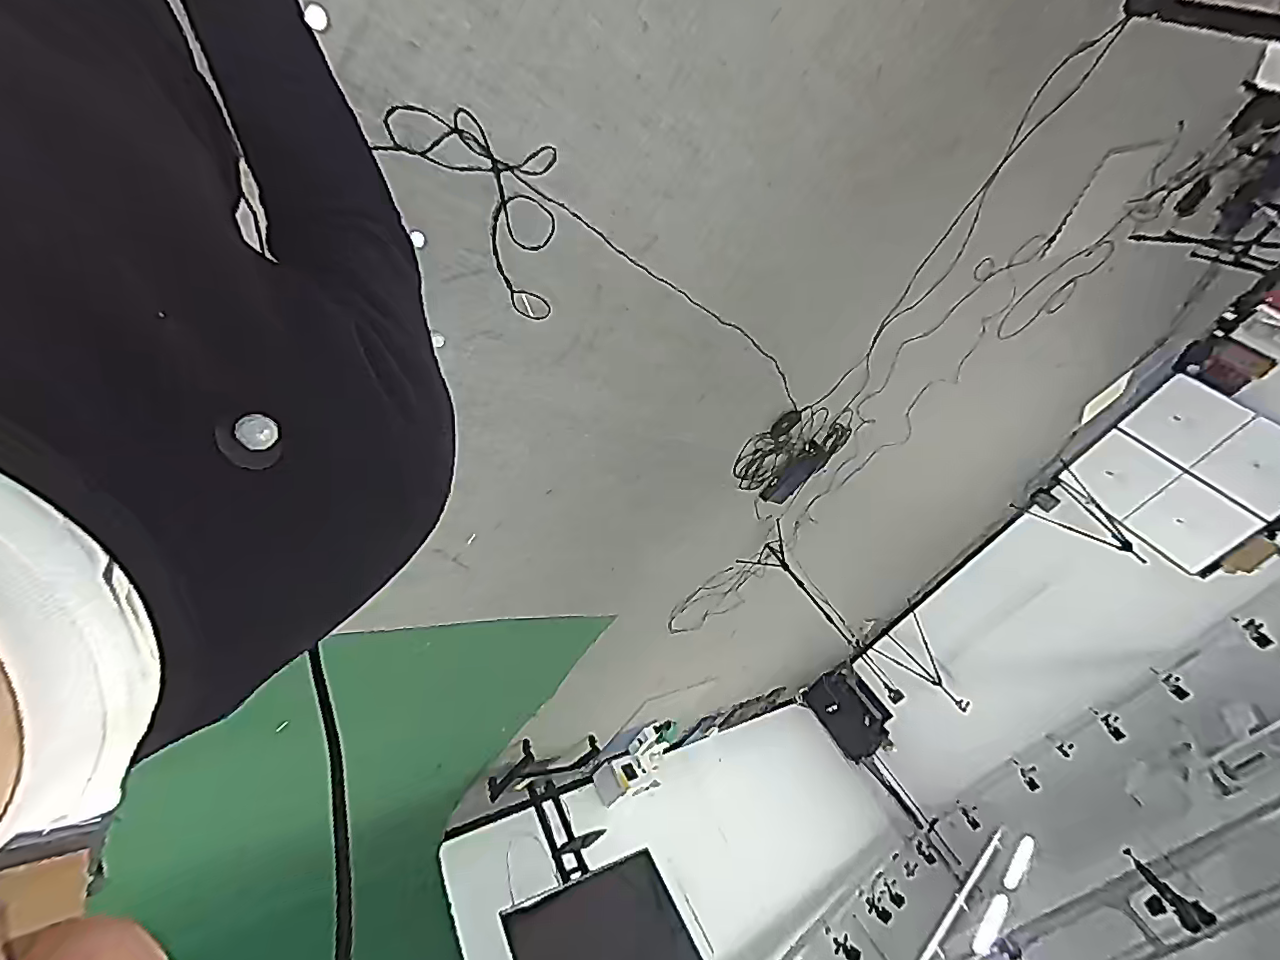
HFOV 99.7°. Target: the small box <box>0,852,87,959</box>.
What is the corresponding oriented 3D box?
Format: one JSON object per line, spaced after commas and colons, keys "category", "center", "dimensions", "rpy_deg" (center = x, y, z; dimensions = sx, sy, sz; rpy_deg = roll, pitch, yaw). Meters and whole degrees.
{"category": "small box", "center": [-1.379, 0.979, 1.205], "dimensions": [0.179, 0.176, 0.168], "rpy_deg": [14, 124, -48]}
